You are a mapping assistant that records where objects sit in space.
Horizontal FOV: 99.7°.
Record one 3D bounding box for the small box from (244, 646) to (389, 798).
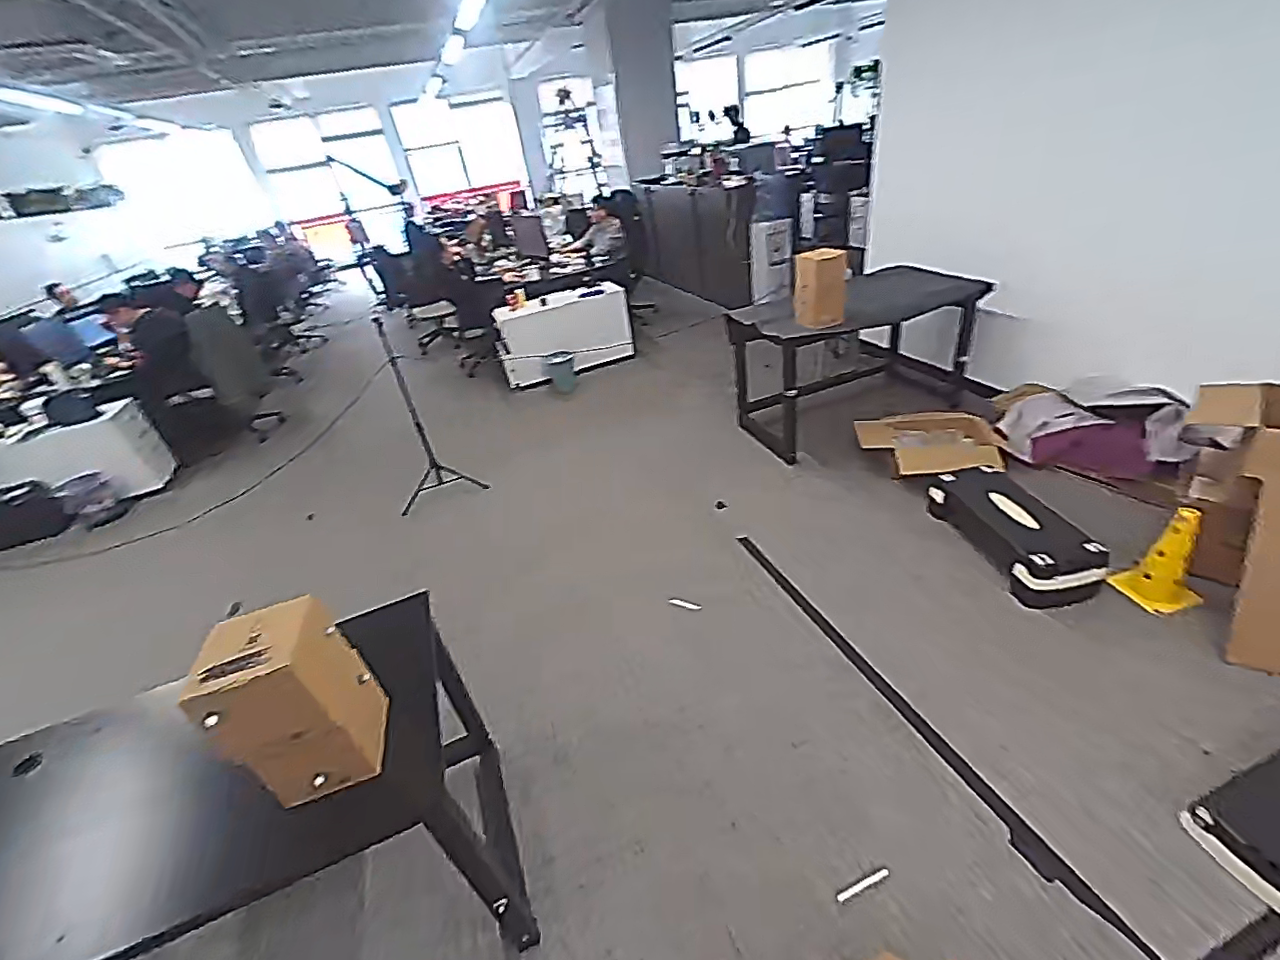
[{"bbox_3d":[-0.598,0.457,1.027,0.168,0.176,0.179,-17,33,-9],"label":"small box"}]
